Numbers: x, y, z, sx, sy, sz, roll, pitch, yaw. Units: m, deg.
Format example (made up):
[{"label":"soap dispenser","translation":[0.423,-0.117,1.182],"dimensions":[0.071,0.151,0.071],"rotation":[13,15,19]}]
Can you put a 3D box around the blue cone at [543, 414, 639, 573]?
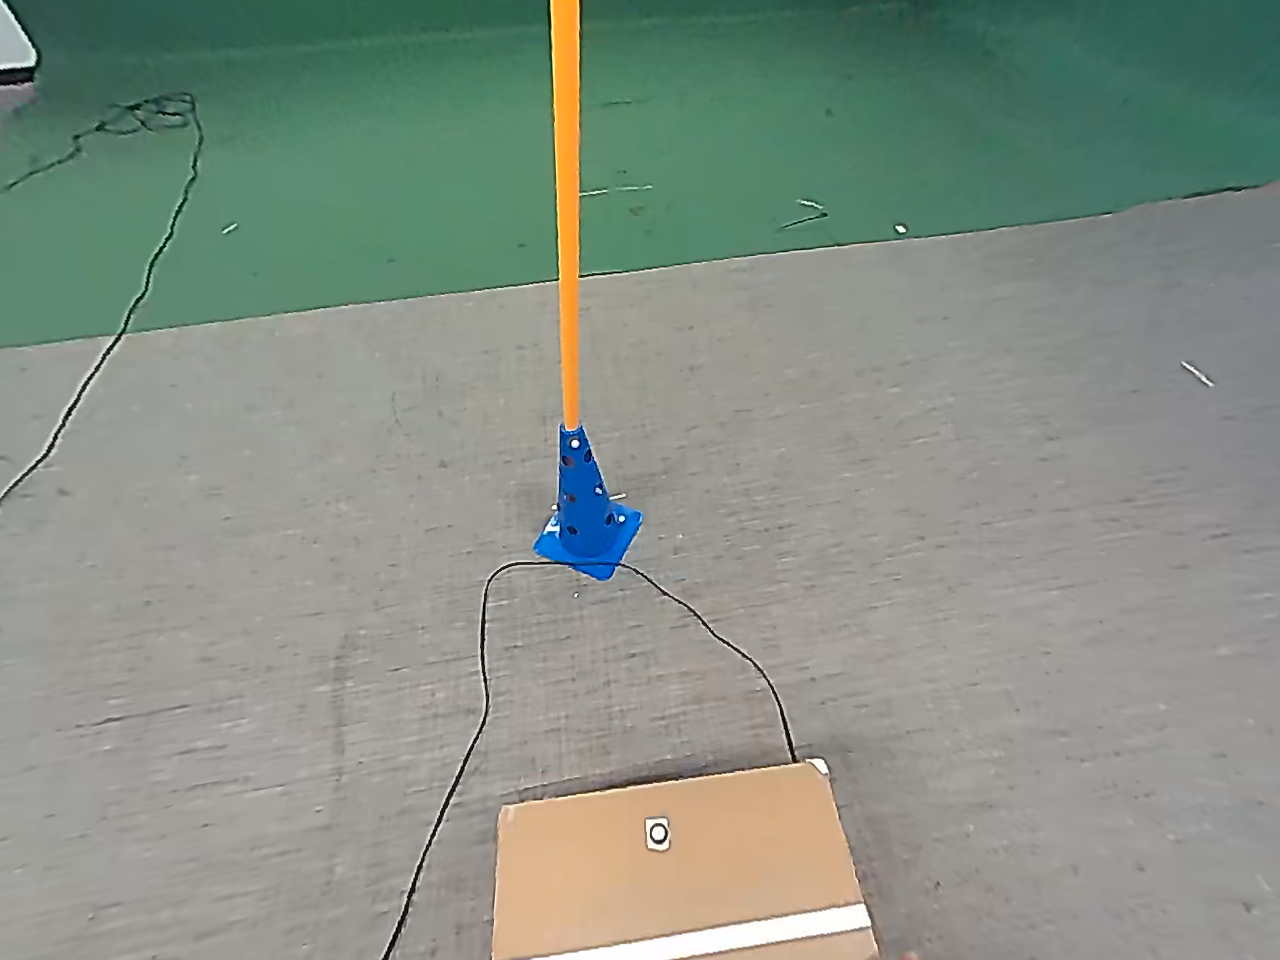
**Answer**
[{"label":"blue cone","translation":[-0.114,0.010,1.113],"dimensions":[0.192,0.380,0.193],"rotation":[18,53,15]}]
